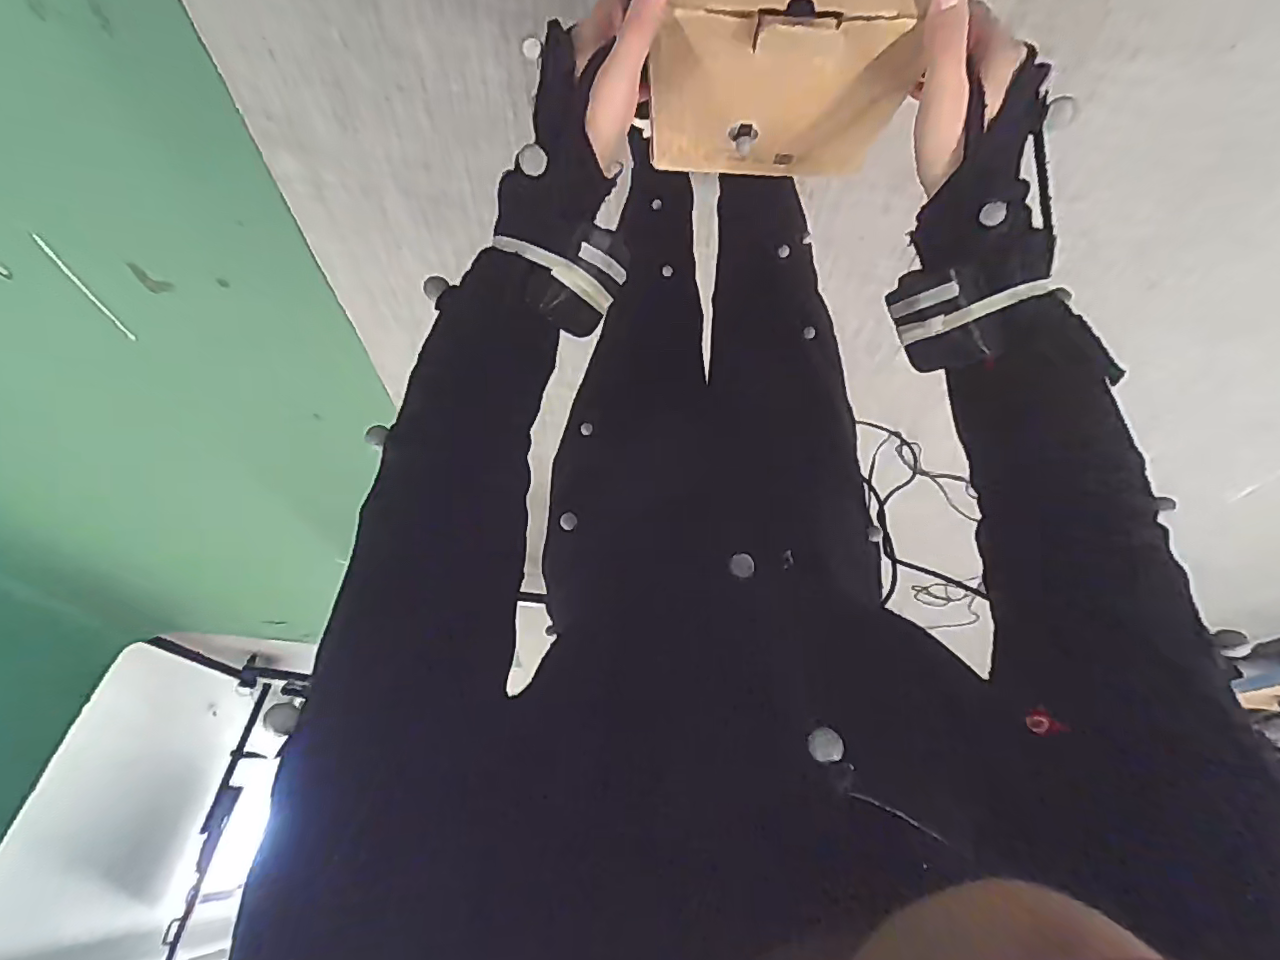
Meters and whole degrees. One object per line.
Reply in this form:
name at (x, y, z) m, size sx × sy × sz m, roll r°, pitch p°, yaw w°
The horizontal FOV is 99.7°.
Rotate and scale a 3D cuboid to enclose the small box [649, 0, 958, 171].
small box at (0.094, -0.342, 0.360) m, size 0.168 × 0.179 × 0.176 m, roll 4°, pitch -177°, yaw 2°
